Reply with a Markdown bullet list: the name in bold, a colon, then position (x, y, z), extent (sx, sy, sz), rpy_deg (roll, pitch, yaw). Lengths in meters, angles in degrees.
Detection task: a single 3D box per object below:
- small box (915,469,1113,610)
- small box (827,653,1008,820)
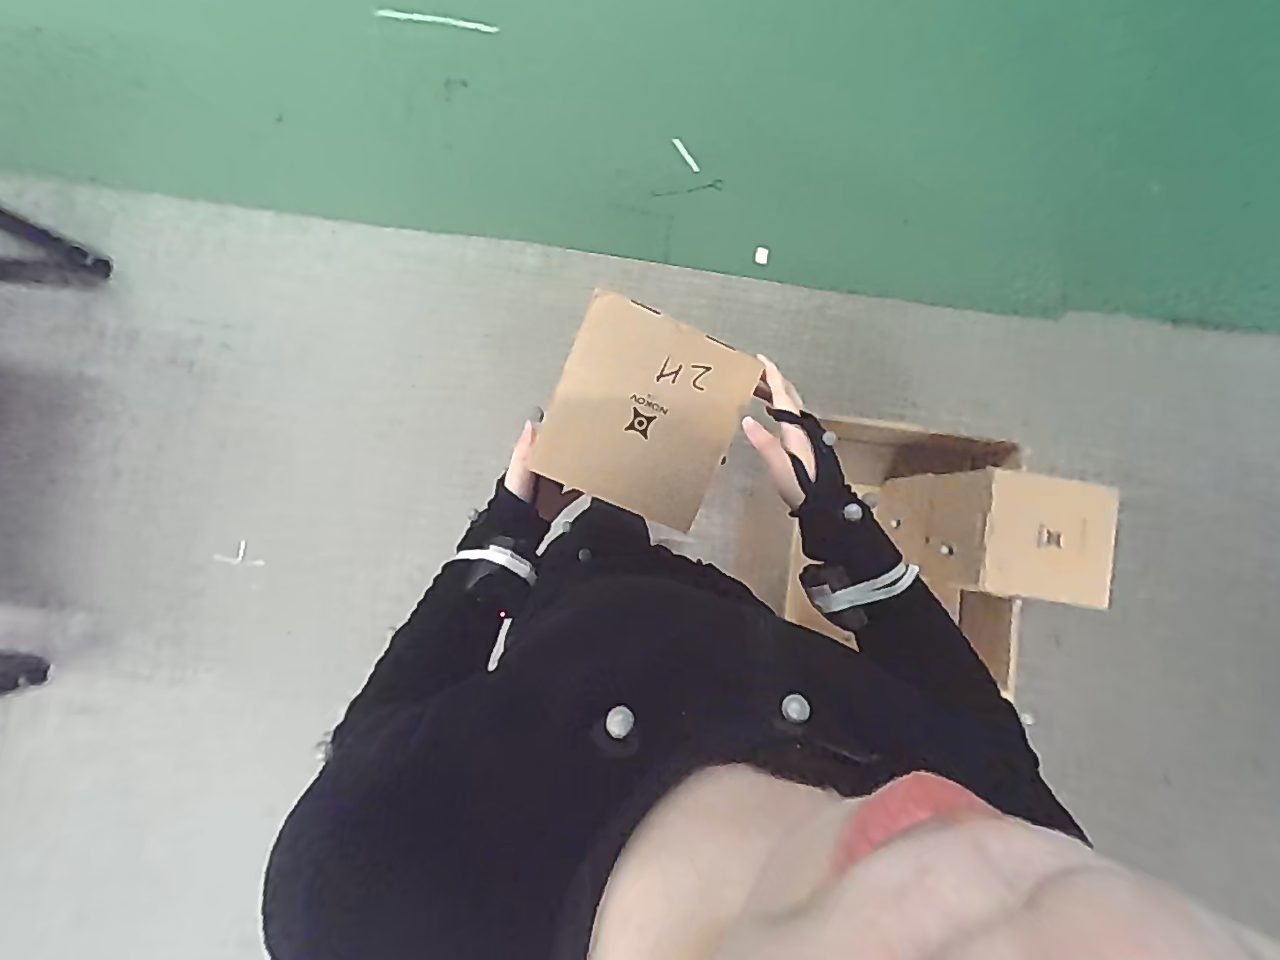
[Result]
- **small box**: position (0.543, 0.086, 0.807), extent (0.179, 0.176, 0.168), rpy_deg (10, 86, -2)
- **small box**: position (0.385, 0.354, 0.777), extent (0.179, 0.176, 0.168), rpy_deg (5, 85, -2)
